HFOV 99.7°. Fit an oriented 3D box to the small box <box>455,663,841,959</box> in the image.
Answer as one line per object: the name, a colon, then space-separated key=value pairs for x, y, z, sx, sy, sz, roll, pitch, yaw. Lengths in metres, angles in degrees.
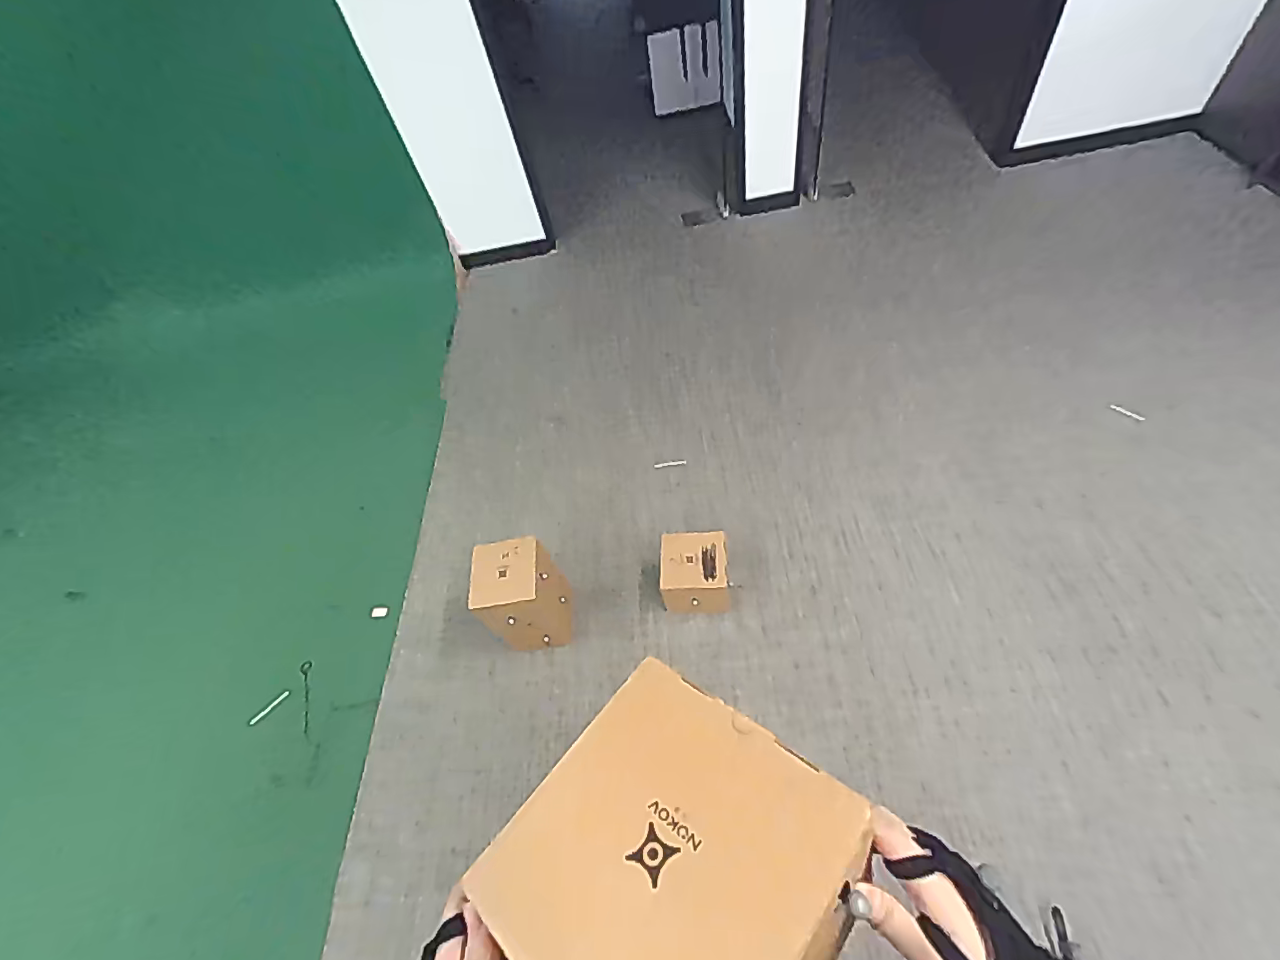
small box: x=0.022 y=0.269 z=0.358 sx=0.168 sy=0.176 sz=0.179 roll=22 pitch=54 yaw=39

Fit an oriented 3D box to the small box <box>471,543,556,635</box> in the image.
small box: x=-0.318 y=0.289 z=1.394 sx=0.168 sy=0.176 sz=0.179 roll=-9 pitch=53 yaw=4

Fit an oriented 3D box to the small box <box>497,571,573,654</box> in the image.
small box: x=-0.288 y=0.381 z=1.527 sx=0.168 sy=0.176 sz=0.179 roll=-9 pitch=53 yaw=5
